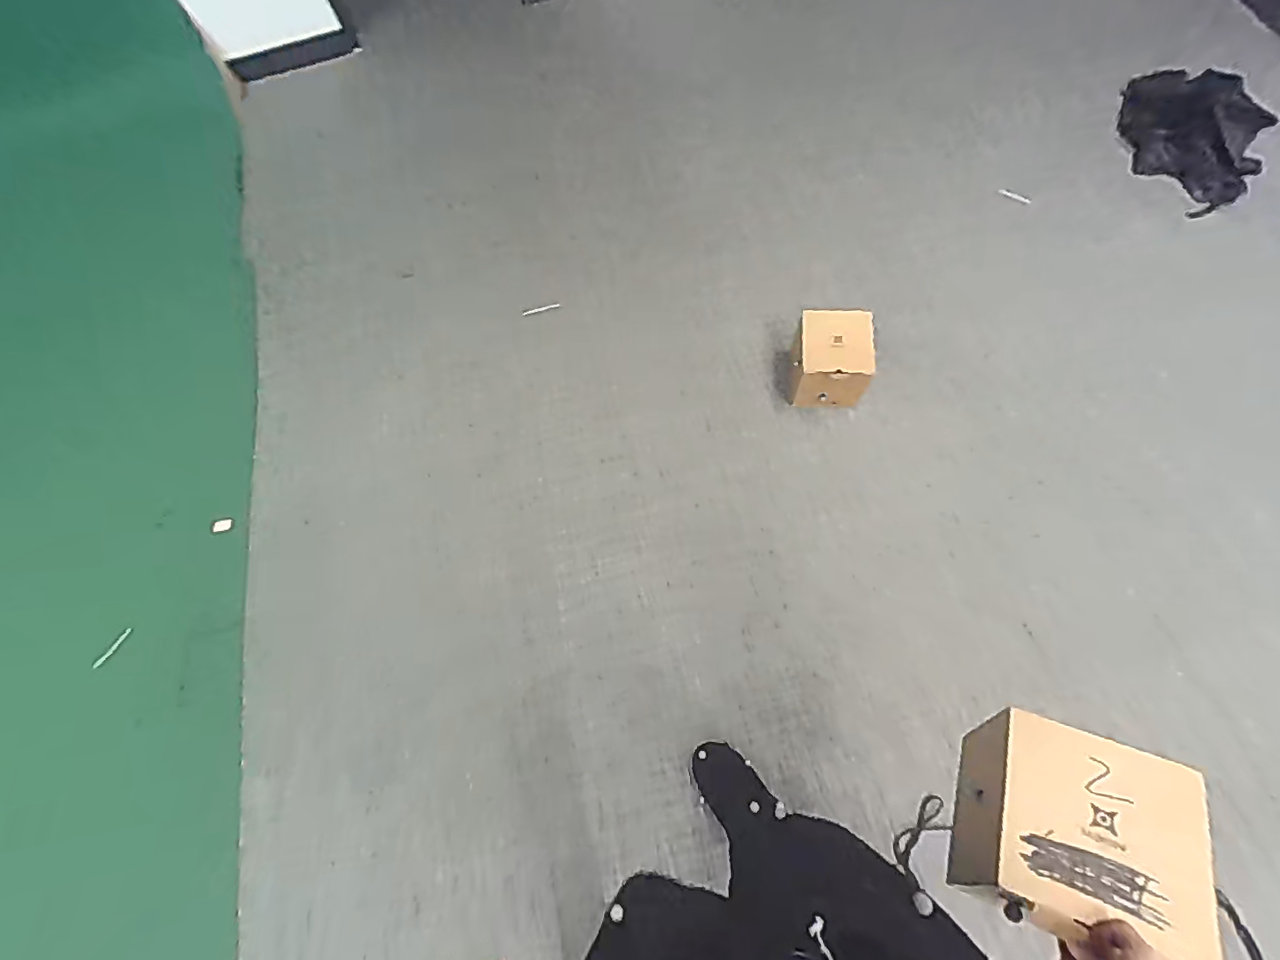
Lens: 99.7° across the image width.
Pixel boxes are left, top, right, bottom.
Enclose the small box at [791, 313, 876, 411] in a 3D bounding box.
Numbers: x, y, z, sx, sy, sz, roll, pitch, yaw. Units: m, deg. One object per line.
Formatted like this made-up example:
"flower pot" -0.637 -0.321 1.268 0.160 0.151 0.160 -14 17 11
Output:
"small box" 0.473 -0.290 1.345 0.168 0.176 0.179 3 70 6
